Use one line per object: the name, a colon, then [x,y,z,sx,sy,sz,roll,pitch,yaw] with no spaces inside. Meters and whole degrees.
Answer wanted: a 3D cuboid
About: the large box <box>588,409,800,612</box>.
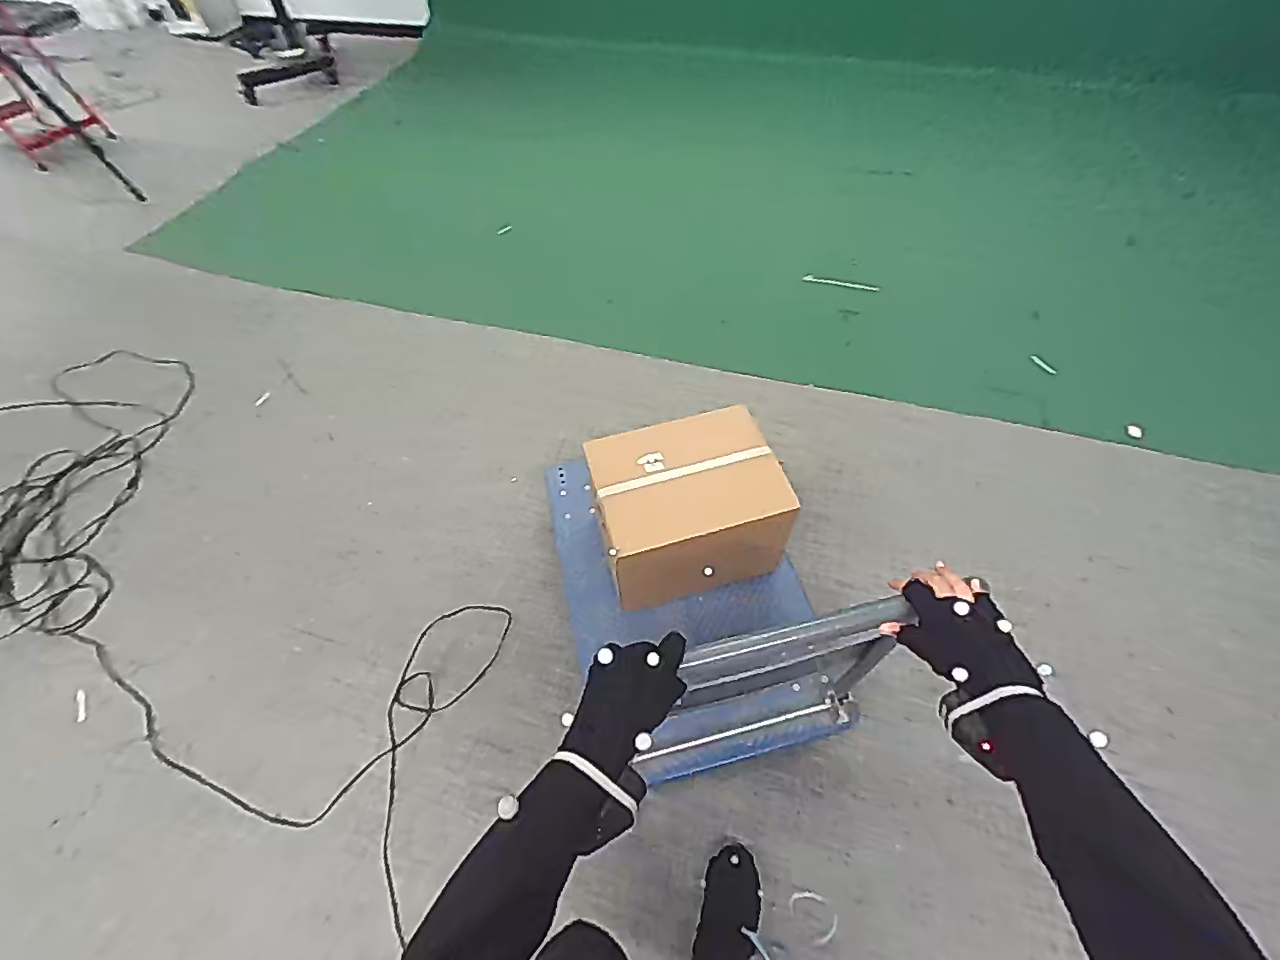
large box: [0.115,0.080,1.321,0.408,0.320,0.320,-15,55,-8]
